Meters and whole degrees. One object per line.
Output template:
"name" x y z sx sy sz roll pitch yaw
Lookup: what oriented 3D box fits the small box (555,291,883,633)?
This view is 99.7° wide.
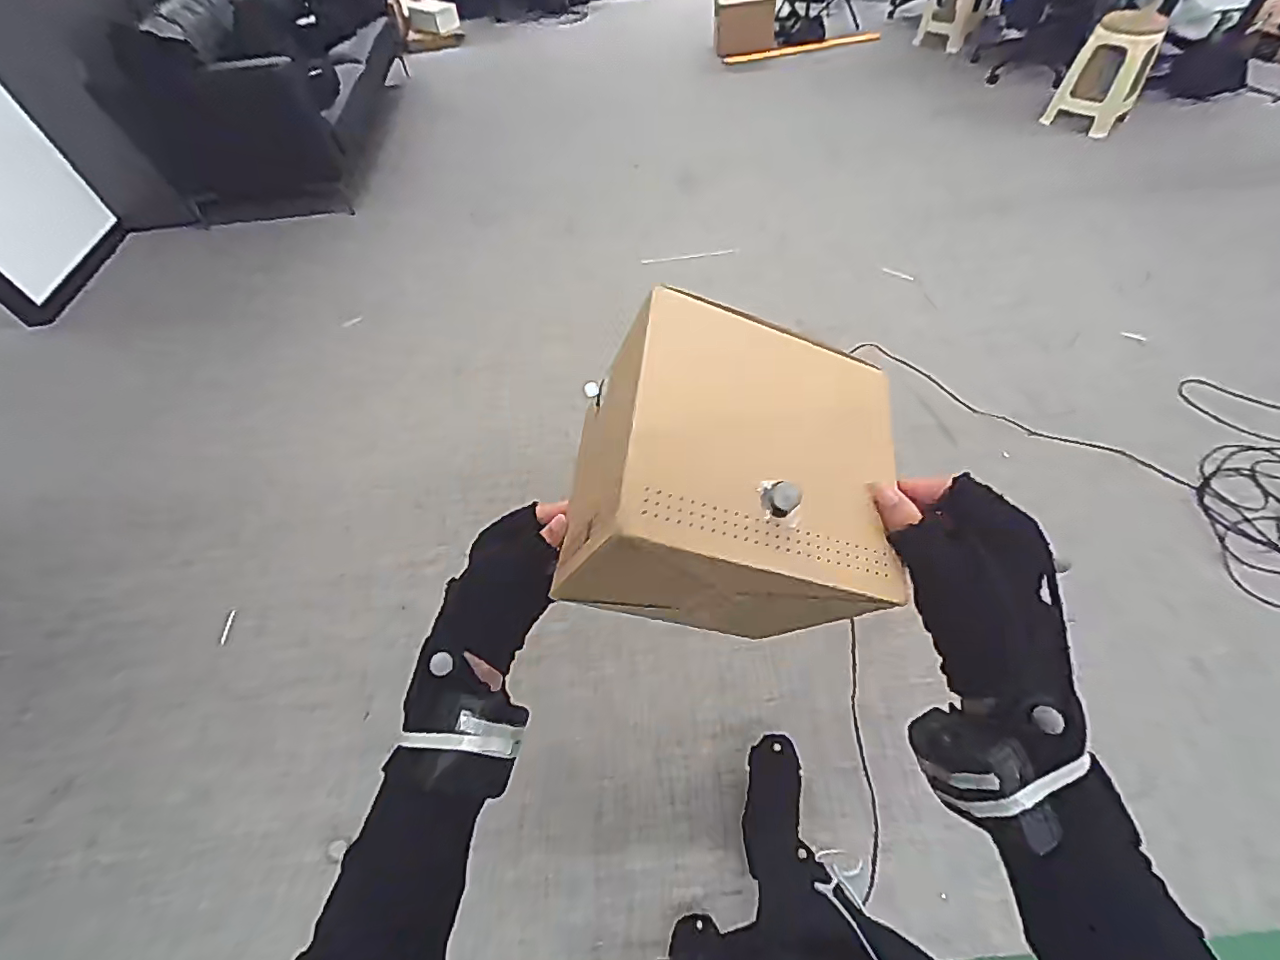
"small box" 0.053 0.006 0.395 0.179 0.168 0.176 16 61 -15
